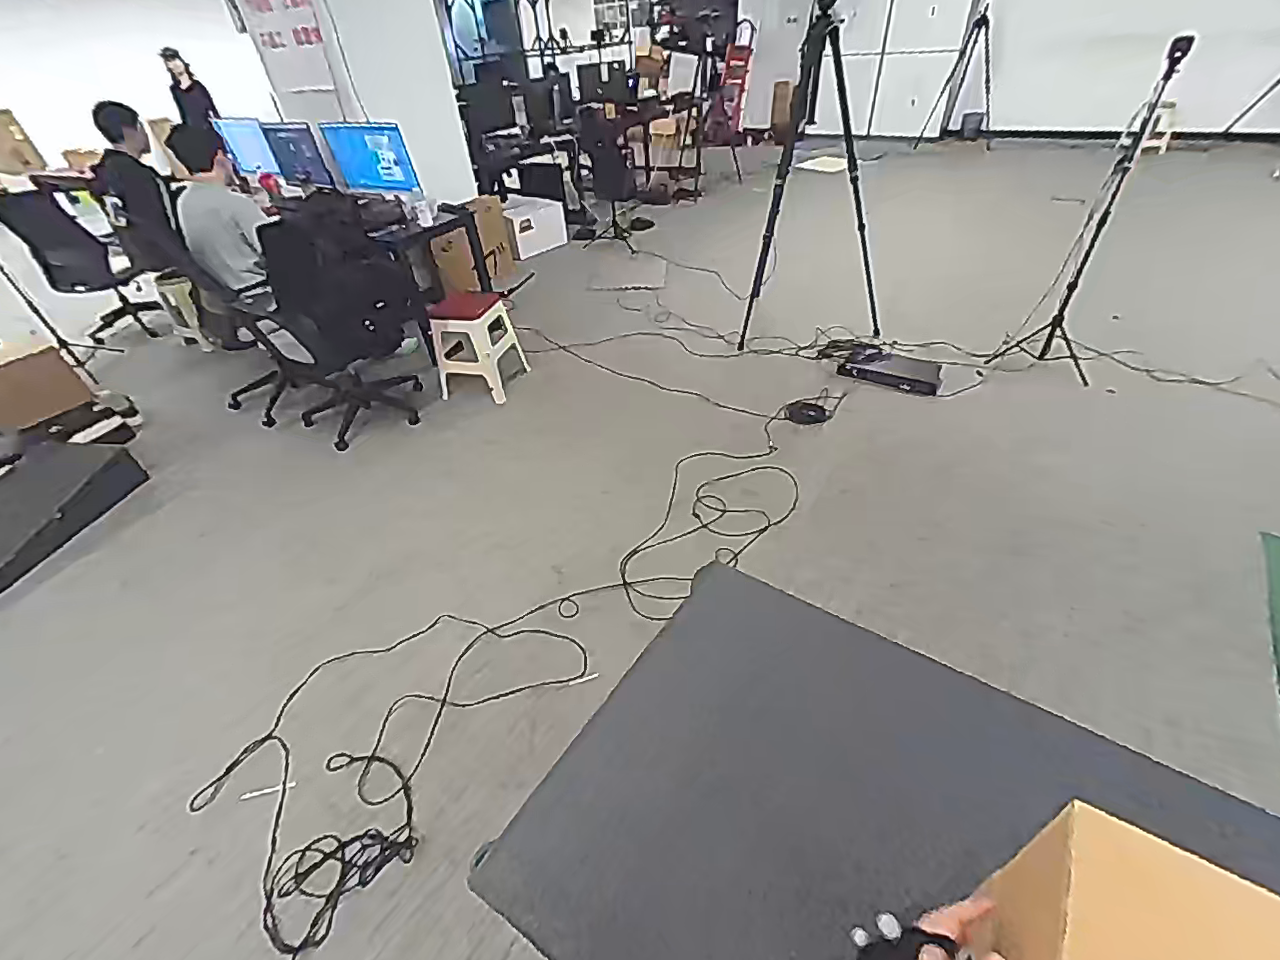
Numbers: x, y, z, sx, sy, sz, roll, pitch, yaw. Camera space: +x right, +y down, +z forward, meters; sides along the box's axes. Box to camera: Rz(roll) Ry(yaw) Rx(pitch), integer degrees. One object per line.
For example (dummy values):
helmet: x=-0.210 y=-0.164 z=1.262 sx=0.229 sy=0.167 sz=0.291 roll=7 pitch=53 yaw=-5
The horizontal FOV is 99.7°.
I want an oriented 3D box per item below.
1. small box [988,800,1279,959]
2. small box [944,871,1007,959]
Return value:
small box: x=0.342 y=0.366 z=0.355 sx=0.168 sy=0.176 sz=0.179 roll=19 pitch=46 yaw=29
small box: x=0.357 y=0.492 z=0.456 sx=0.168 sy=0.176 sz=0.179 roll=19 pitch=45 yaw=29
